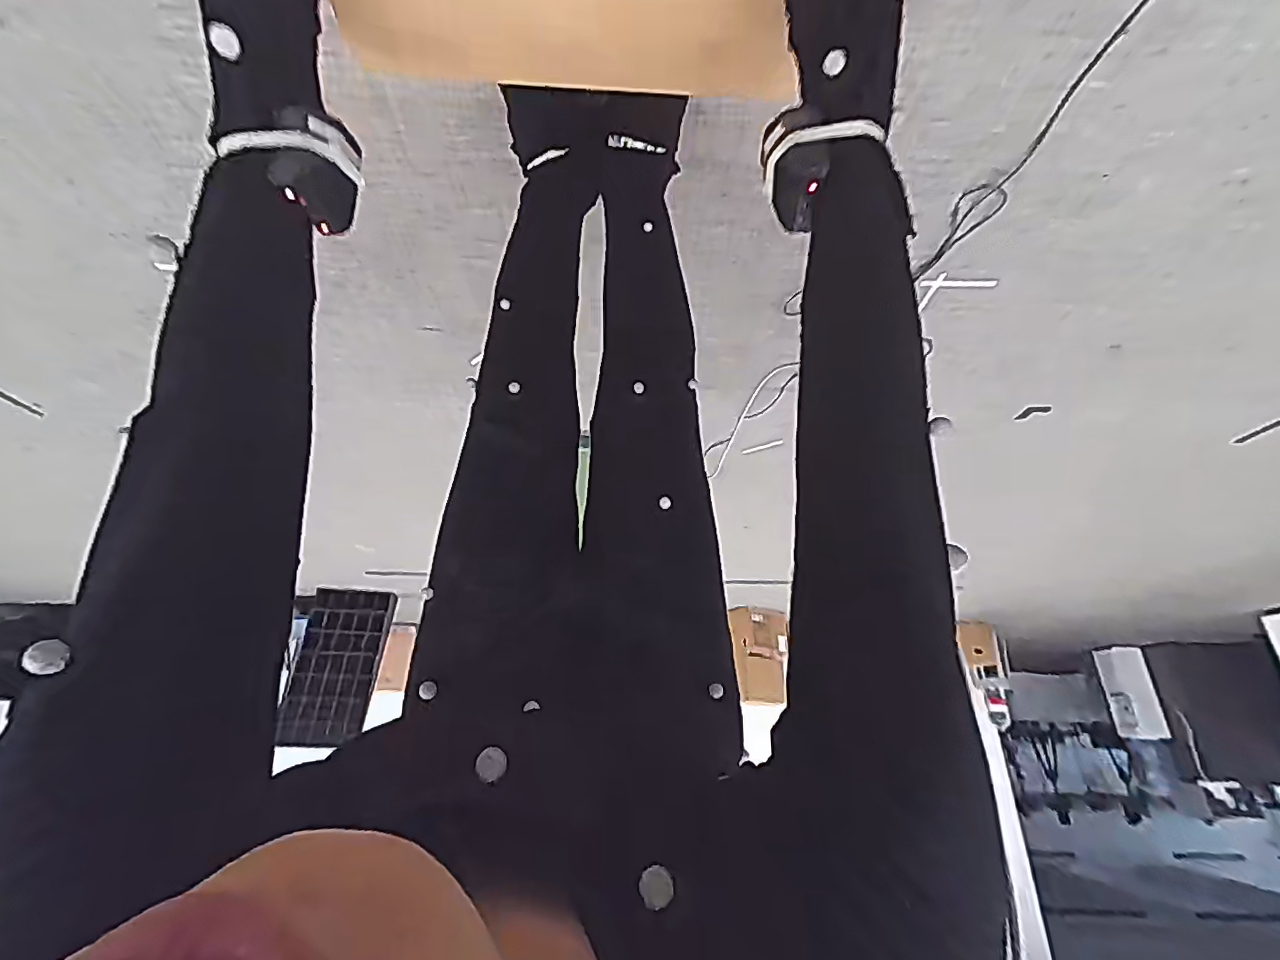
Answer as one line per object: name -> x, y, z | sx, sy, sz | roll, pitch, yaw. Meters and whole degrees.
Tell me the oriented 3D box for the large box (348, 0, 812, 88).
large box -> -0.050, -0.580, 0.444 | 0.408, 0.320, 0.320 | 1, 155, -2
